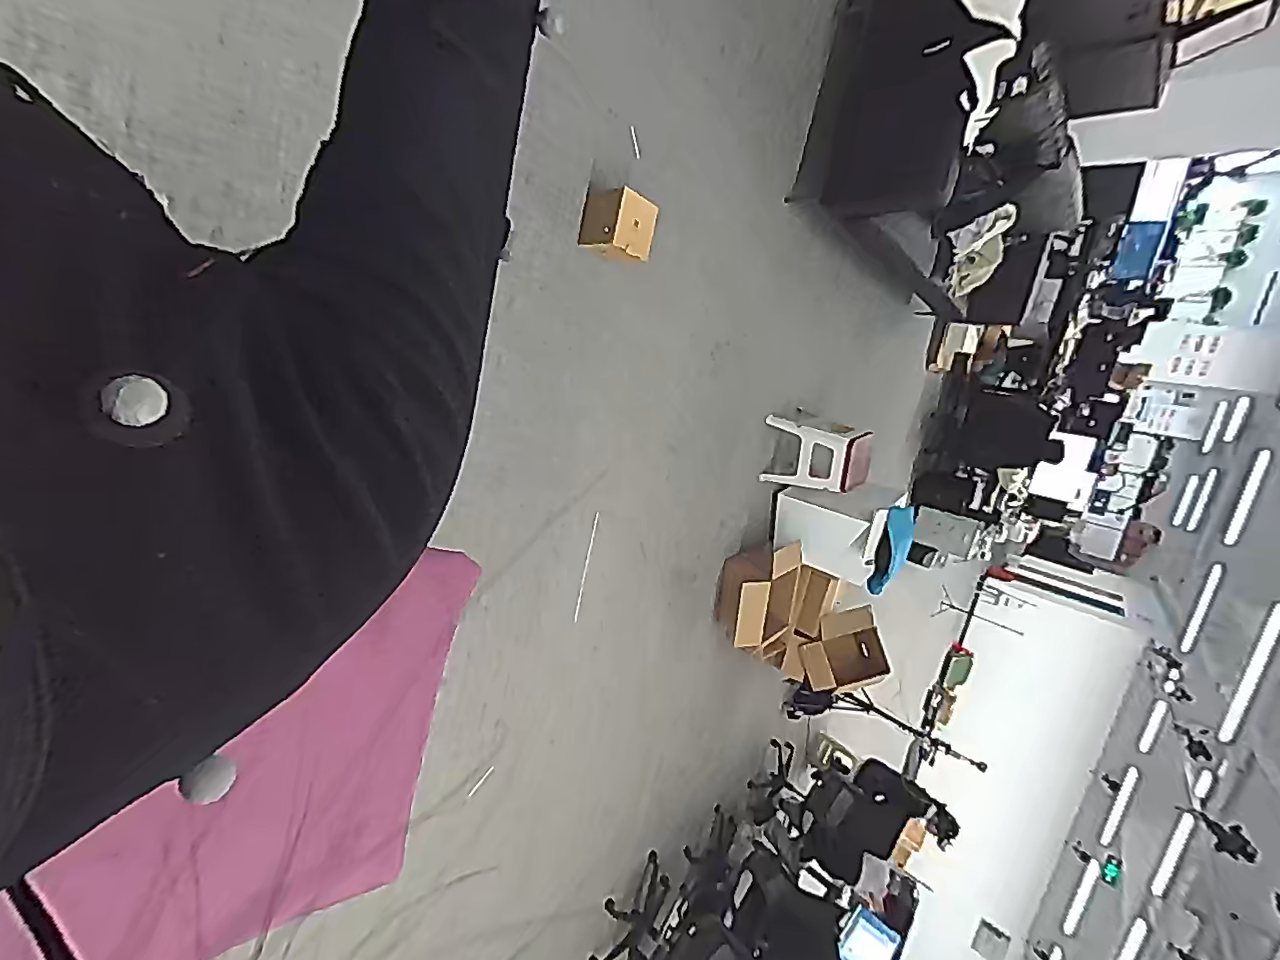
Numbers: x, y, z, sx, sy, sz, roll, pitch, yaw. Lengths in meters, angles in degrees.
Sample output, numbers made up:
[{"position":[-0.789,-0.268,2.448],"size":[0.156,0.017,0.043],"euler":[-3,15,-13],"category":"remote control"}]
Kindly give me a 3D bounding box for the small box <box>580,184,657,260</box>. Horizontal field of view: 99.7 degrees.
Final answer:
[{"position":[-0.074,-0.835,1.764],"size":[0.168,0.176,0.179],"euler":[3,103,-49],"category":"small box"}]
